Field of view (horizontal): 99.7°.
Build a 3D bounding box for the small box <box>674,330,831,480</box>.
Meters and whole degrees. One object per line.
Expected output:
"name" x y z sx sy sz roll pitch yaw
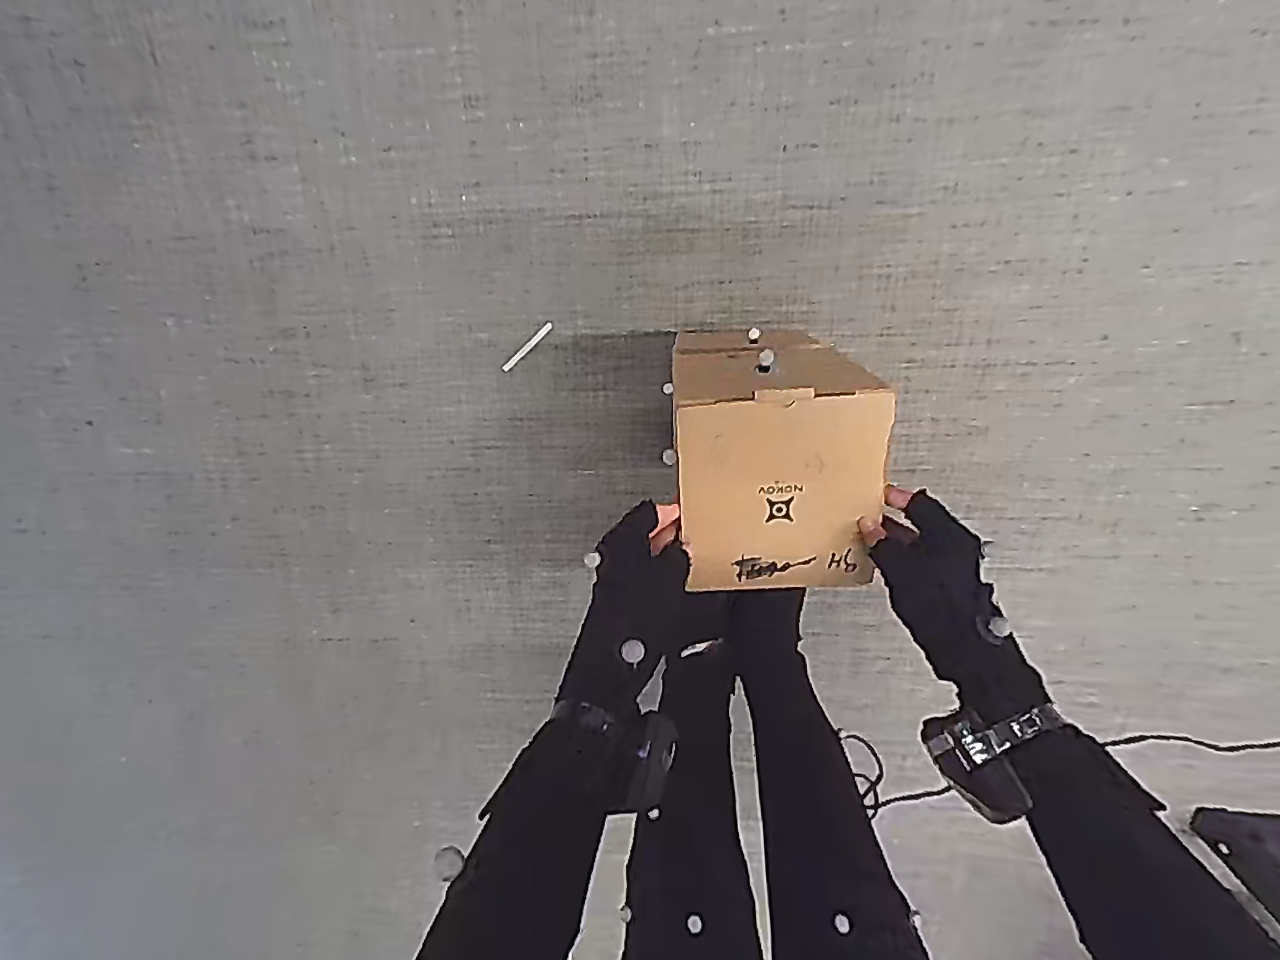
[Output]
"small box" 0.136 -0.105 0.713 0.179 0.176 0.168 0 111 5
